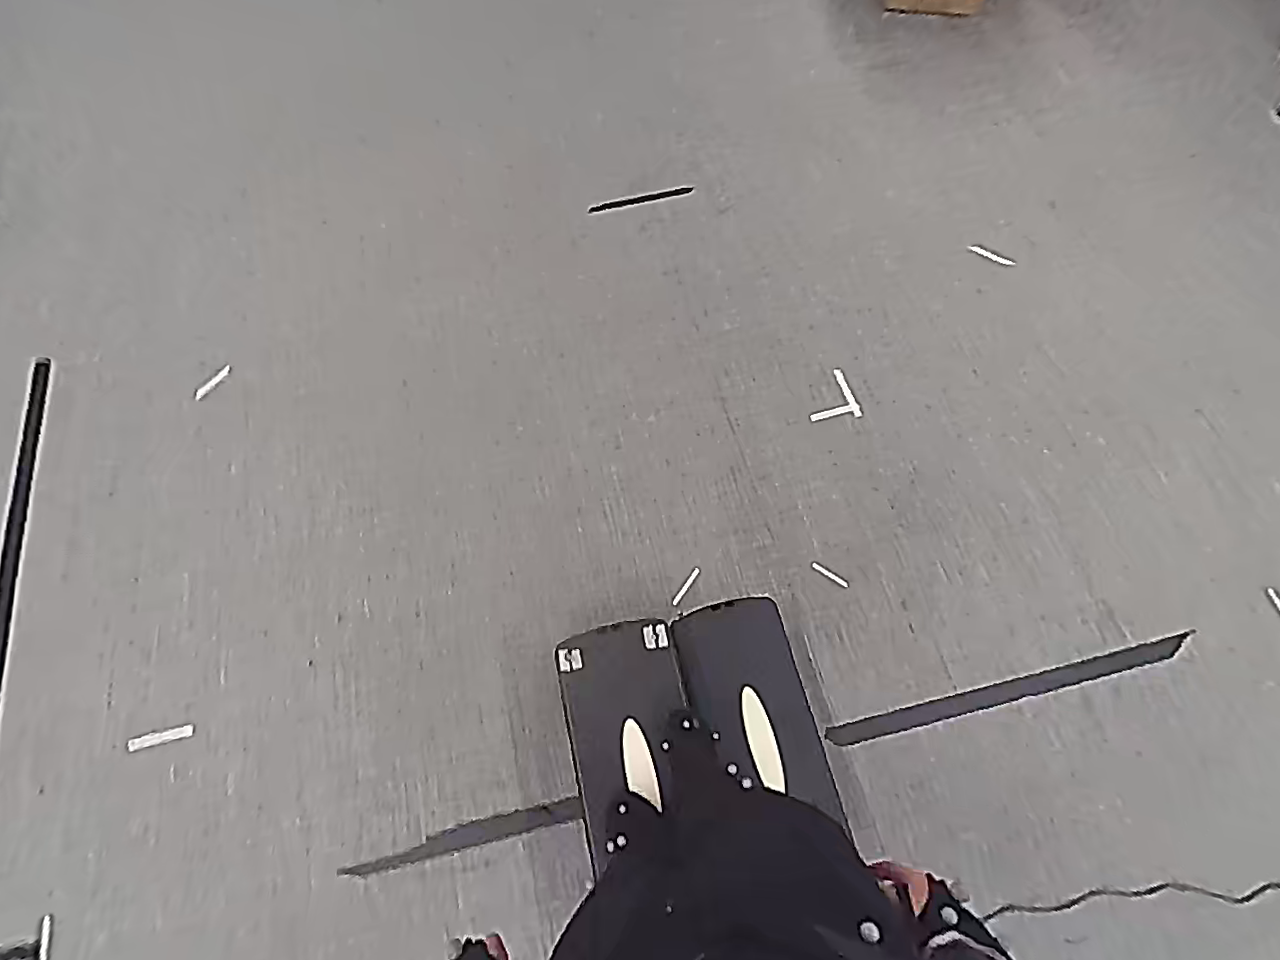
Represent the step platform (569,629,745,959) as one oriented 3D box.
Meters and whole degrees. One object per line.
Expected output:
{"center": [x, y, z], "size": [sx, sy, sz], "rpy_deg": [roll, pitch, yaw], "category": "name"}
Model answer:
{"center": [0.019, 0.691, 1.213], "size": [0.286, 0.204, 0.684], "rpy_deg": [-9, 67, -4], "category": "step platform"}
